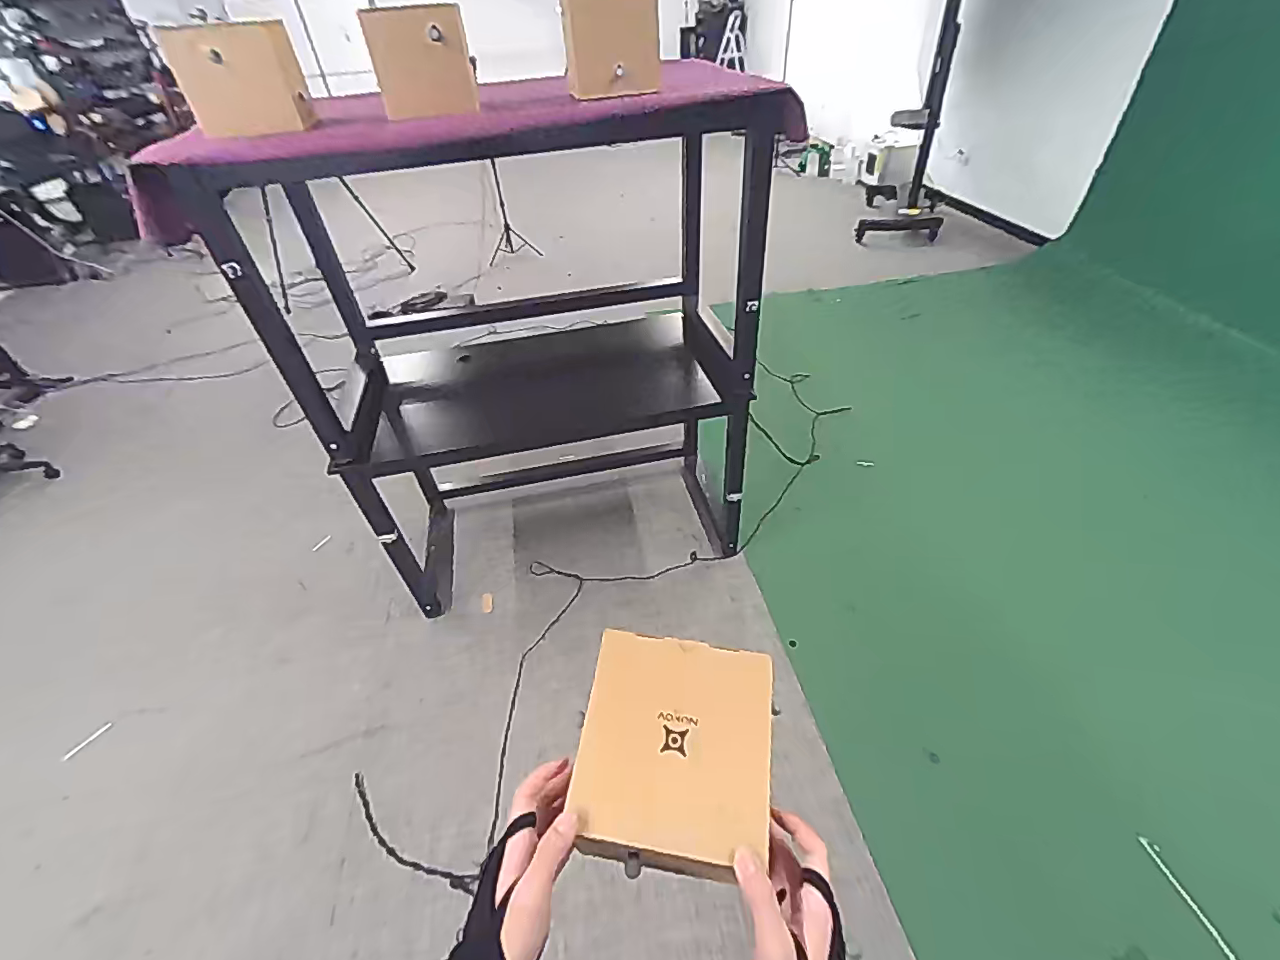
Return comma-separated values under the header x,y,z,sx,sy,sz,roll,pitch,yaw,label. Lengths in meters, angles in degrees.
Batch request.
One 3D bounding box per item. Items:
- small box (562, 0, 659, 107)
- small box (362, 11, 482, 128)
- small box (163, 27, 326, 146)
x,y,z,sx,sy,sz,roll,pitch,yaw,label
-0.059,-0.893,1.125,0.179,0.176,0.168,-10,40,-6,small box
-0.424,-0.827,1.088,0.179,0.176,0.168,-10,41,-6,small box
-0.745,-0.758,1.043,0.179,0.176,0.168,-12,42,-9,small box
